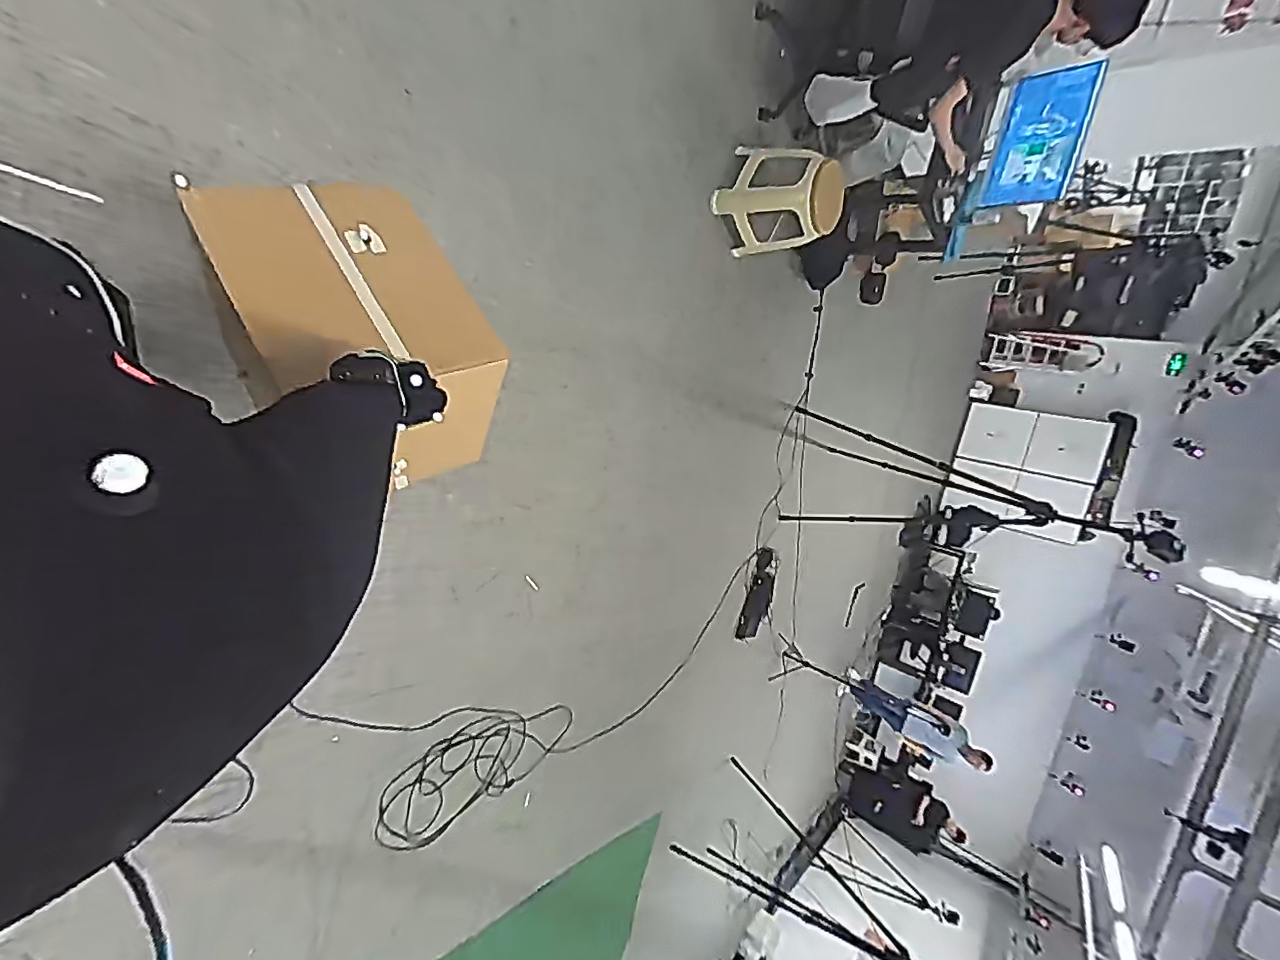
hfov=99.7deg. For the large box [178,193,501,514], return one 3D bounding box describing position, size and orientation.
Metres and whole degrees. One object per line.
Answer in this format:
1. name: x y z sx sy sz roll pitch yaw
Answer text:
1. large box: -0.495 -0.218 0.932 0.320 0.408 0.320 -24 163 -36
